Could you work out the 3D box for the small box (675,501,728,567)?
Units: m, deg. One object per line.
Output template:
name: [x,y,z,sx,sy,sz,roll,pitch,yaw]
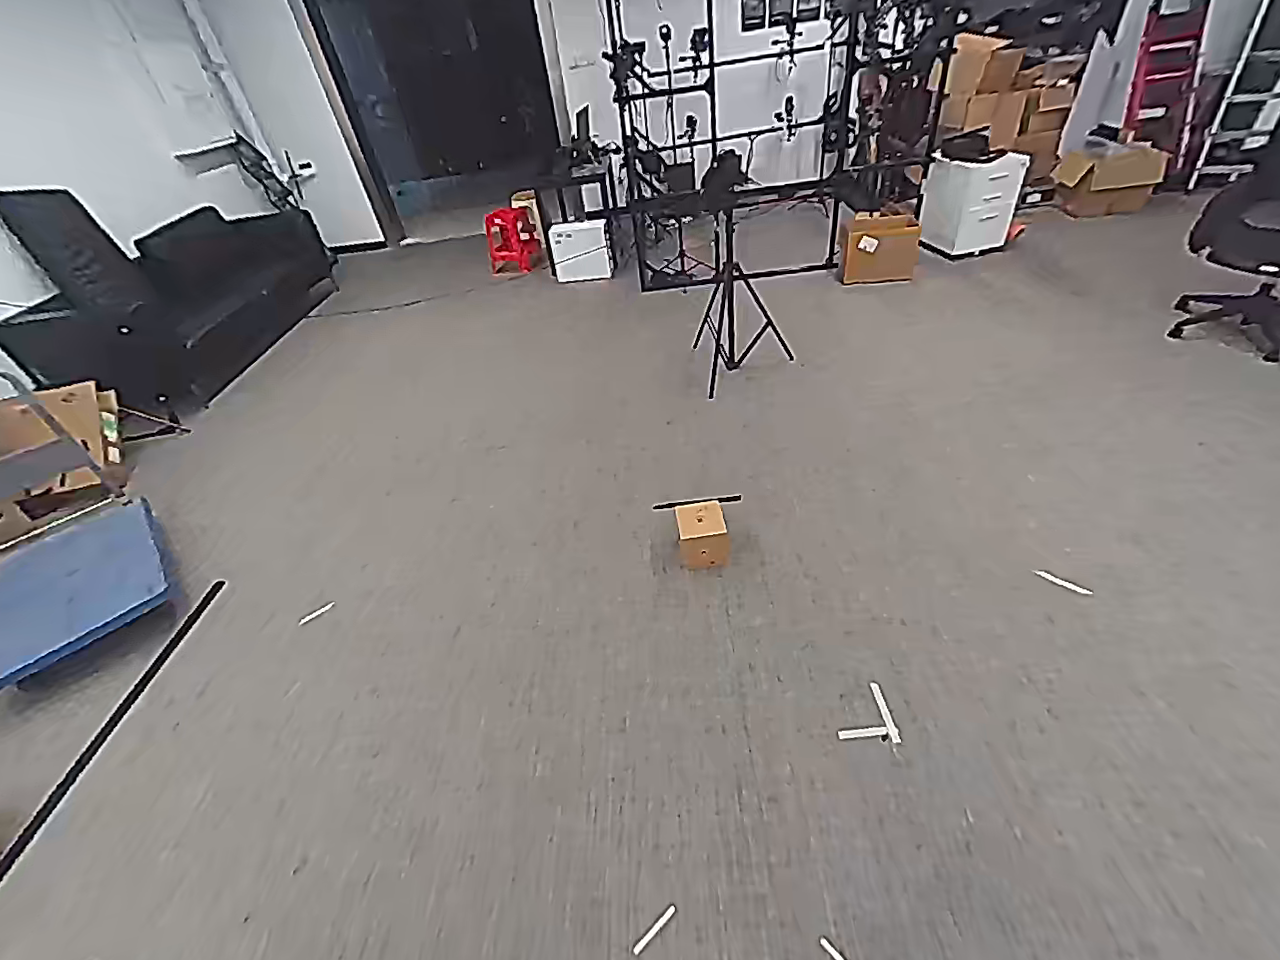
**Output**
small box: [0.226,0.205,1.985,0.168,0.176,0.179,-8,39,1]
